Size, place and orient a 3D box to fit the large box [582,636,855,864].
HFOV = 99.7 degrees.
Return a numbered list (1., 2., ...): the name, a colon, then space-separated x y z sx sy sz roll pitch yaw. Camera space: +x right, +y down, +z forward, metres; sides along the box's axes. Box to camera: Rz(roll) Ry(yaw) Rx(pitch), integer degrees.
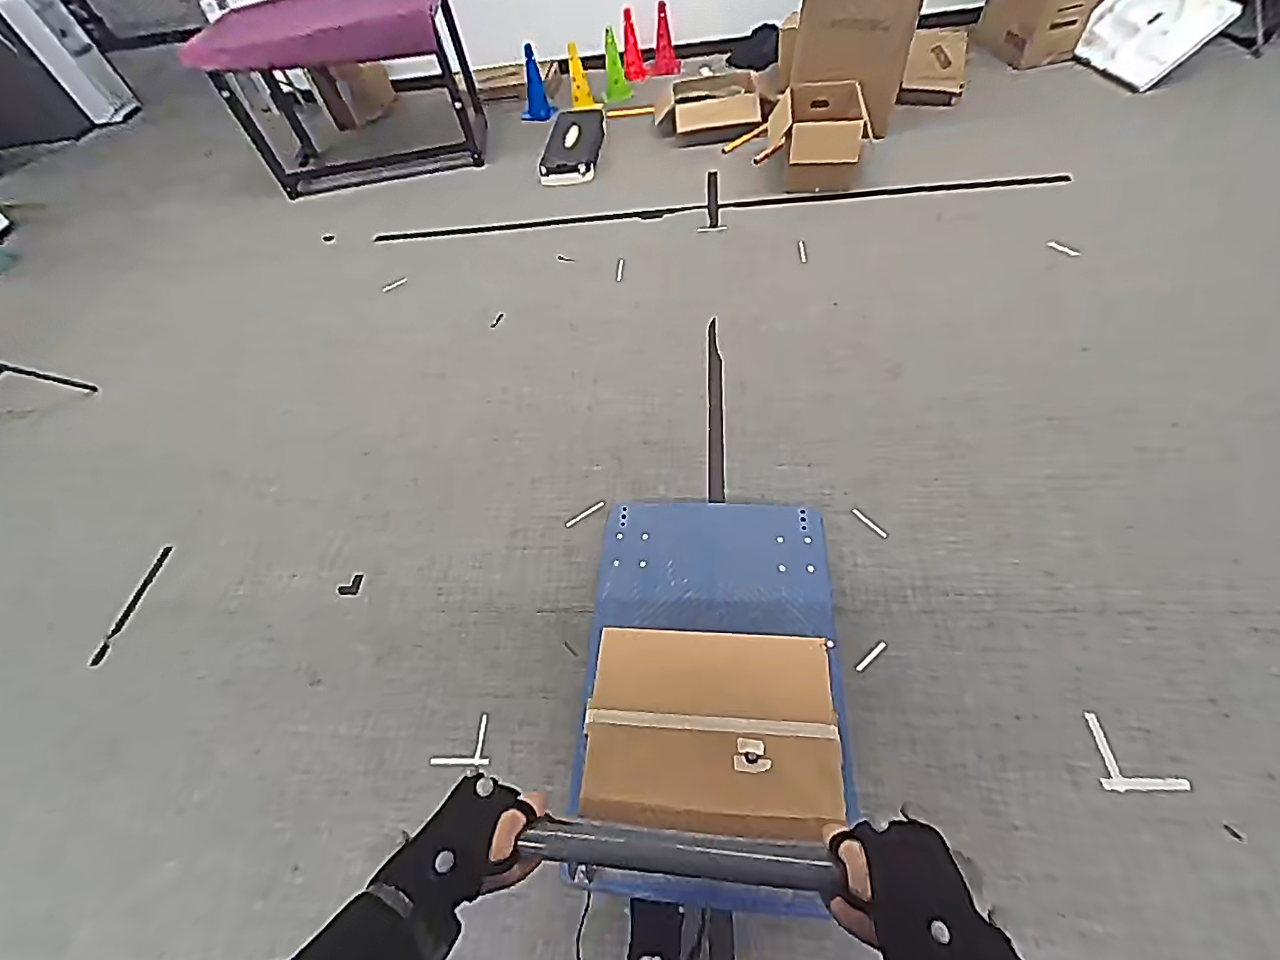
1. large box: 0.131 0.498 0.991 0.408 0.320 0.320 1 54 7
